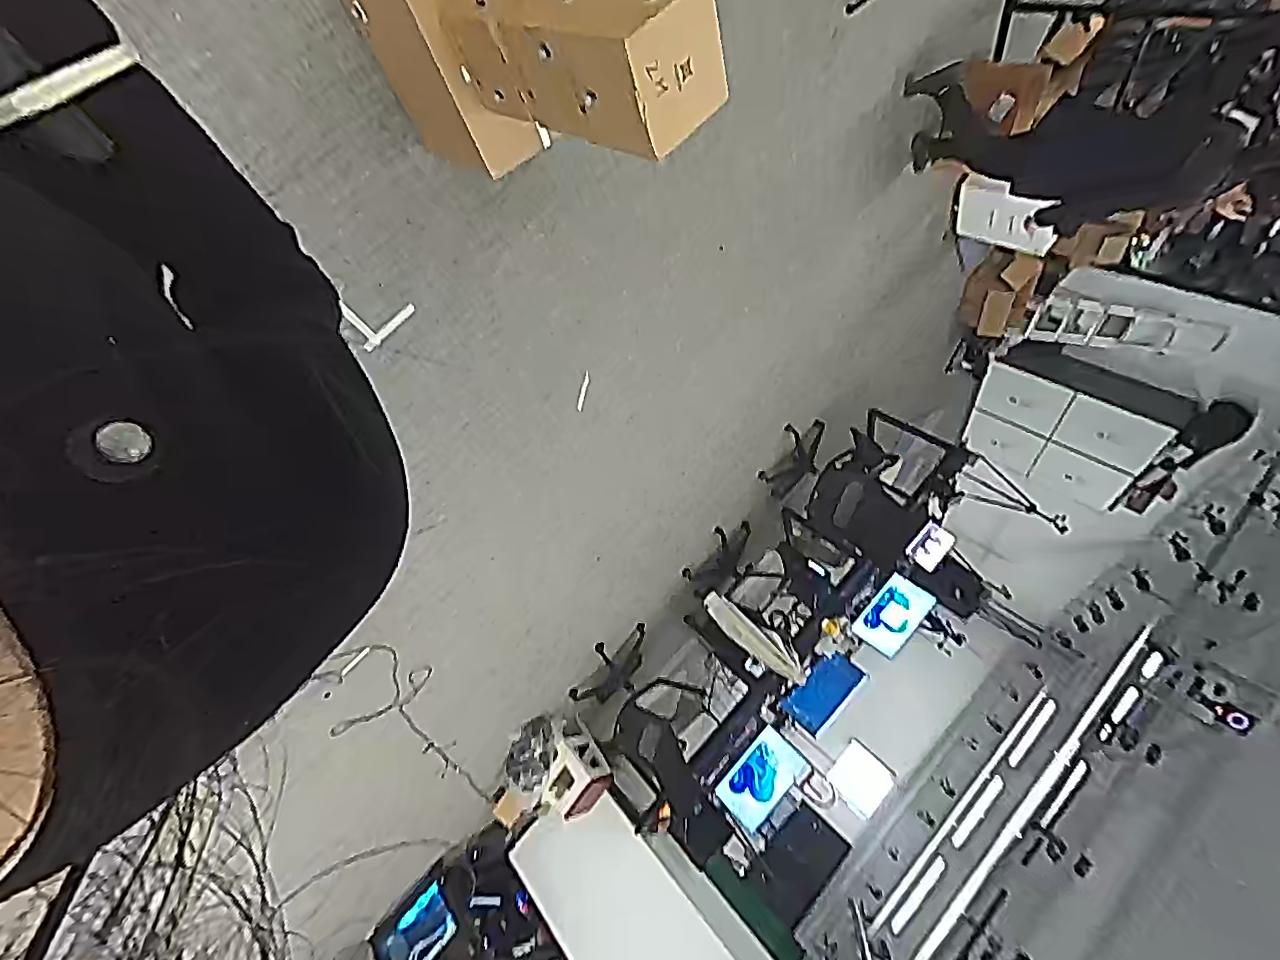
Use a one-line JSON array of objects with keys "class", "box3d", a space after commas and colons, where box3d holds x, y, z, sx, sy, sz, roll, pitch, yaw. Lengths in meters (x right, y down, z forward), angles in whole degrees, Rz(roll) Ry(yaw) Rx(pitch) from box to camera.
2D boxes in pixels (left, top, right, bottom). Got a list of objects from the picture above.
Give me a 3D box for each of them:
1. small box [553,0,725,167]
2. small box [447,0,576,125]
[{"class": "small box", "box3d": [0.002, -0.622, 0.824, 0.179, 0.176, 0.168, -46, 147, -10]}, {"class": "small box", "box3d": [-0.224, -0.794, 0.991, 0.179, 0.176, 0.168, -48, 148, -9]}]
